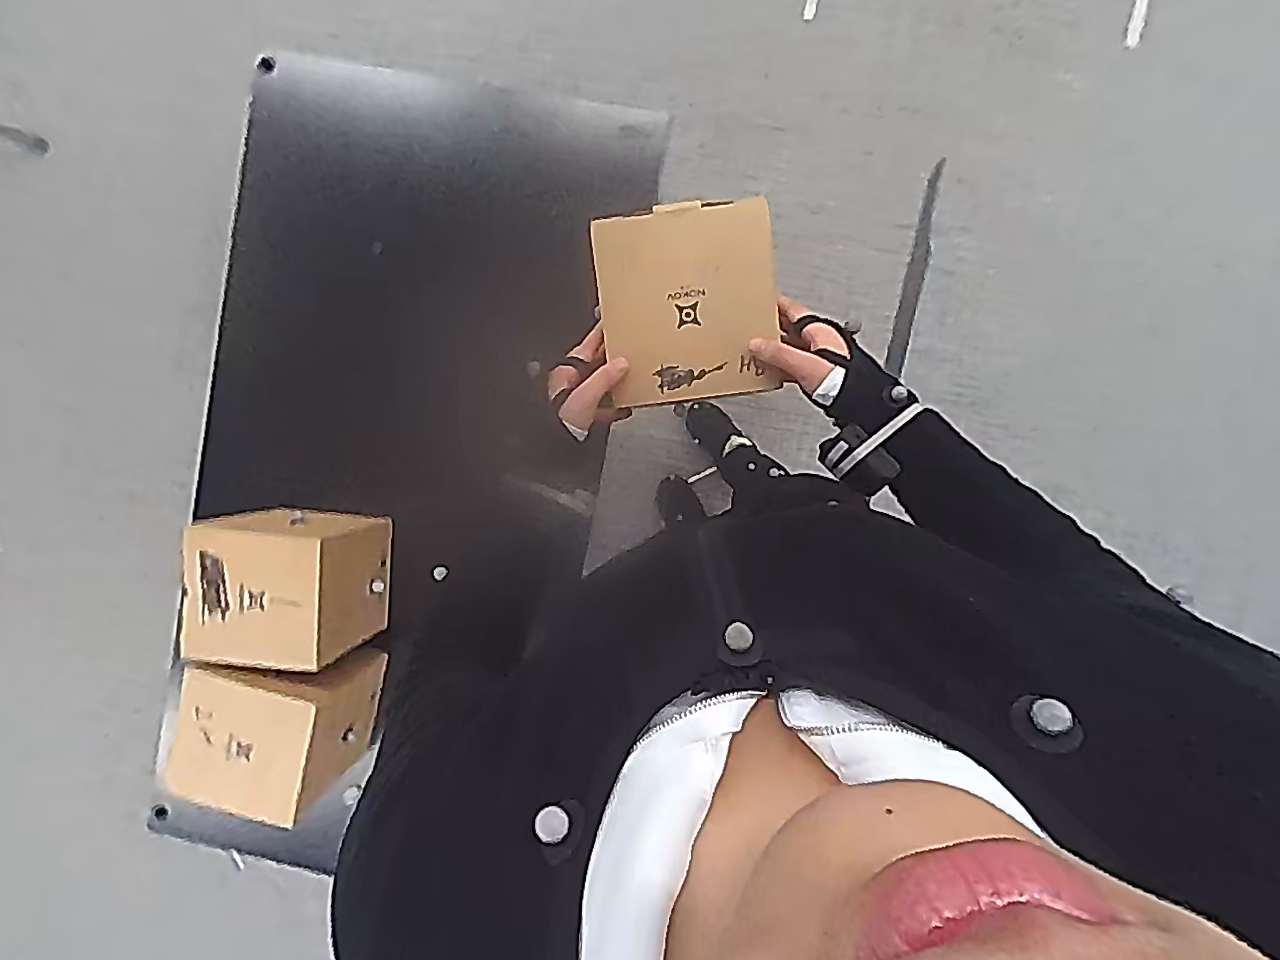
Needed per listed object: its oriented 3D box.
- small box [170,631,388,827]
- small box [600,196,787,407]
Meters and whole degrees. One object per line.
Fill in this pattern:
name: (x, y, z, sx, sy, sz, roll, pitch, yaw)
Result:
small box: (-0.480, 0.326, 0.745, 0.179, 0.176, 0.168, 14, 93, 4)
small box: (0.054, -0.175, 0.583, 0.168, 0.176, 0.179, -6, 97, 4)
